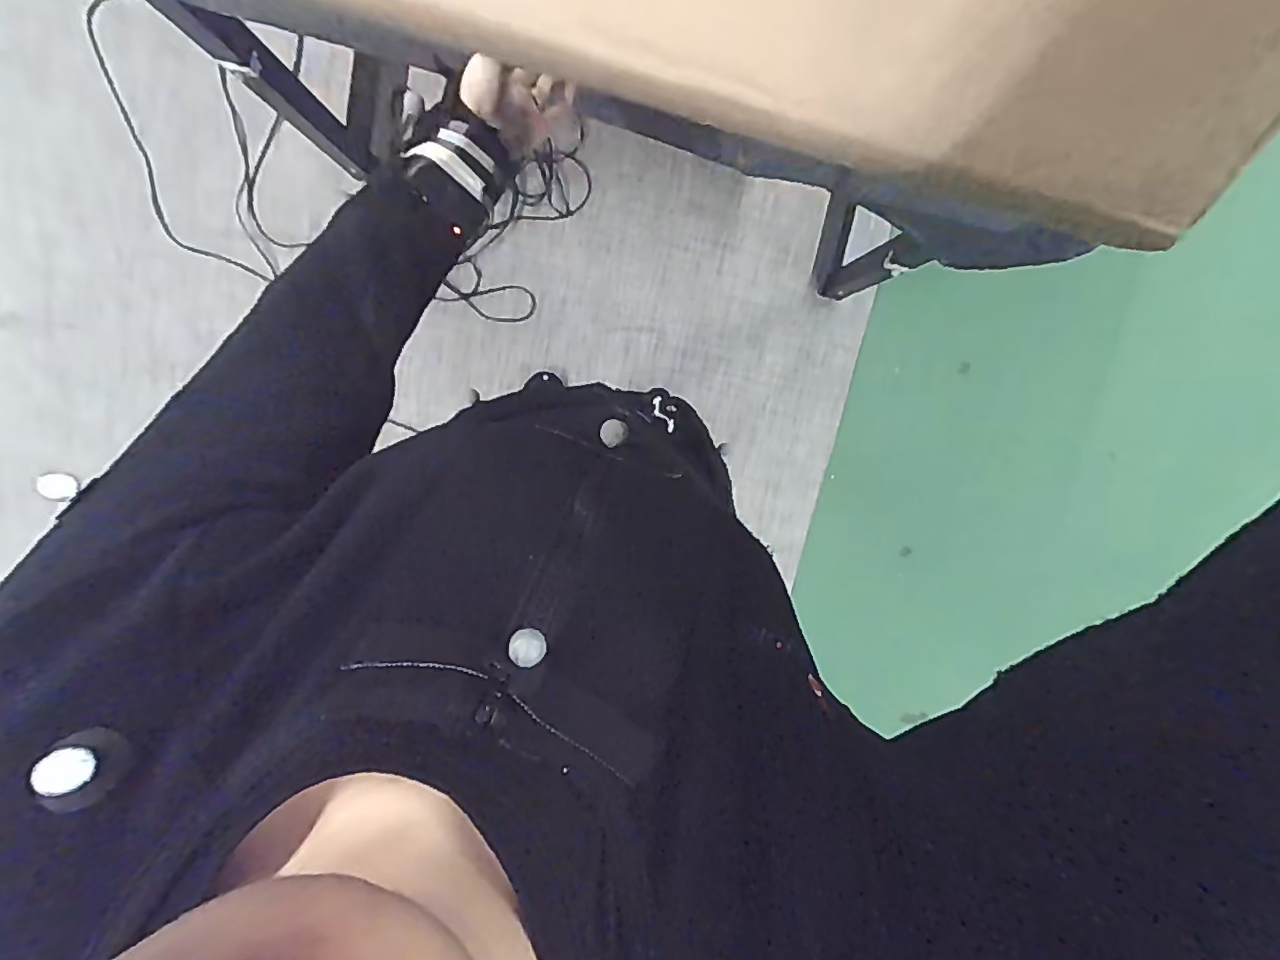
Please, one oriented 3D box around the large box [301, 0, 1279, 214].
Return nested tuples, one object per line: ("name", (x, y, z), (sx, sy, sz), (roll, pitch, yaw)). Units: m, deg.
("large box", (0.070, -0.357, 0.228), (0.320, 0.408, 0.320), (12, 129, -6))
